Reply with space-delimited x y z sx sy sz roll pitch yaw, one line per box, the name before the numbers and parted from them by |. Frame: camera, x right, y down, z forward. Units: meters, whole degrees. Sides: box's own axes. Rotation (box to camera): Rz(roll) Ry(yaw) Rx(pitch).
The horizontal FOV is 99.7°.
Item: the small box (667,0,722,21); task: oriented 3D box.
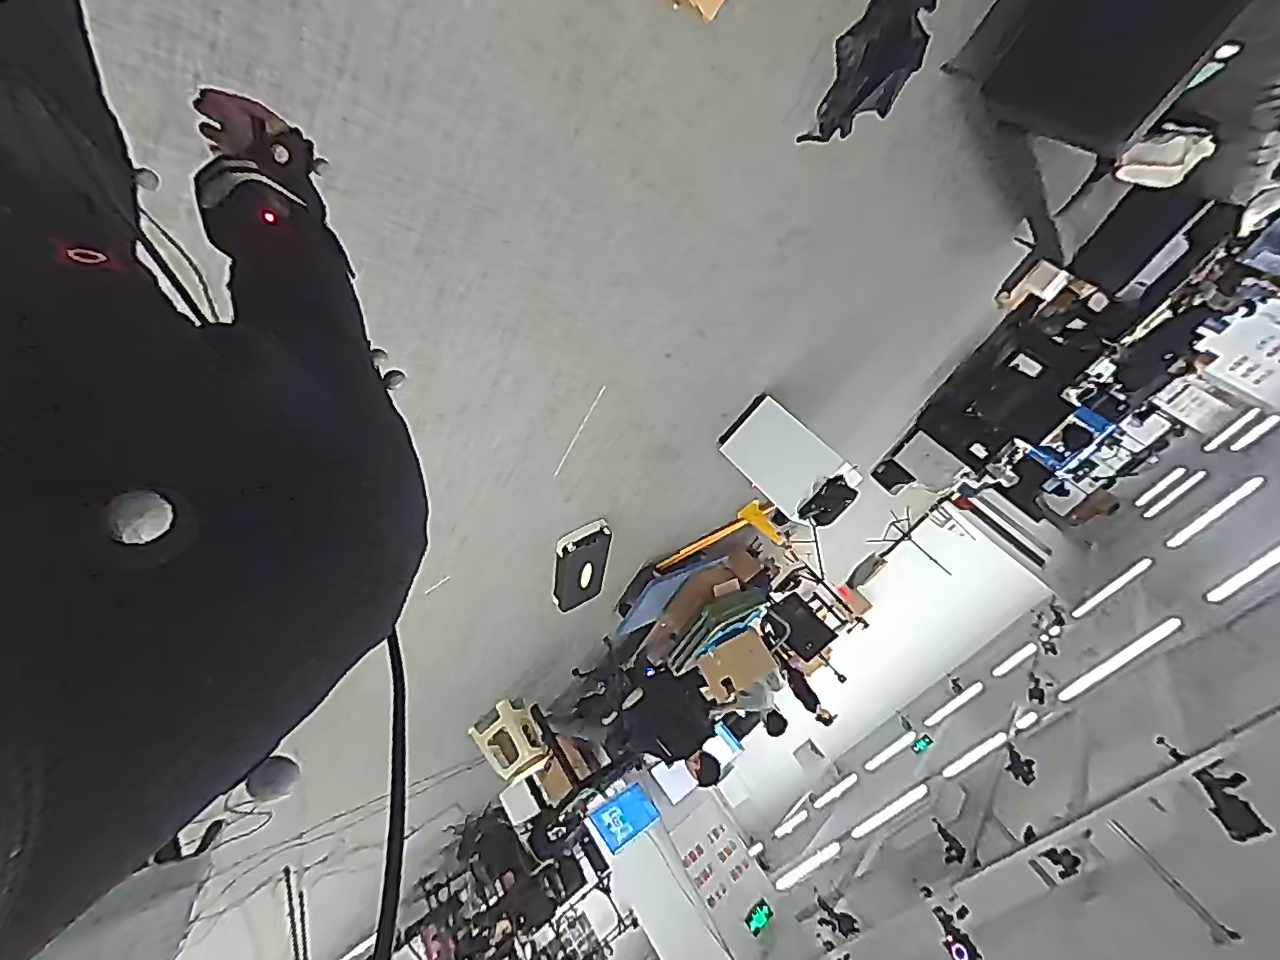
small box | 0.105 -1.127 1.126 0.179 0.176 0.168 -53 152 21
